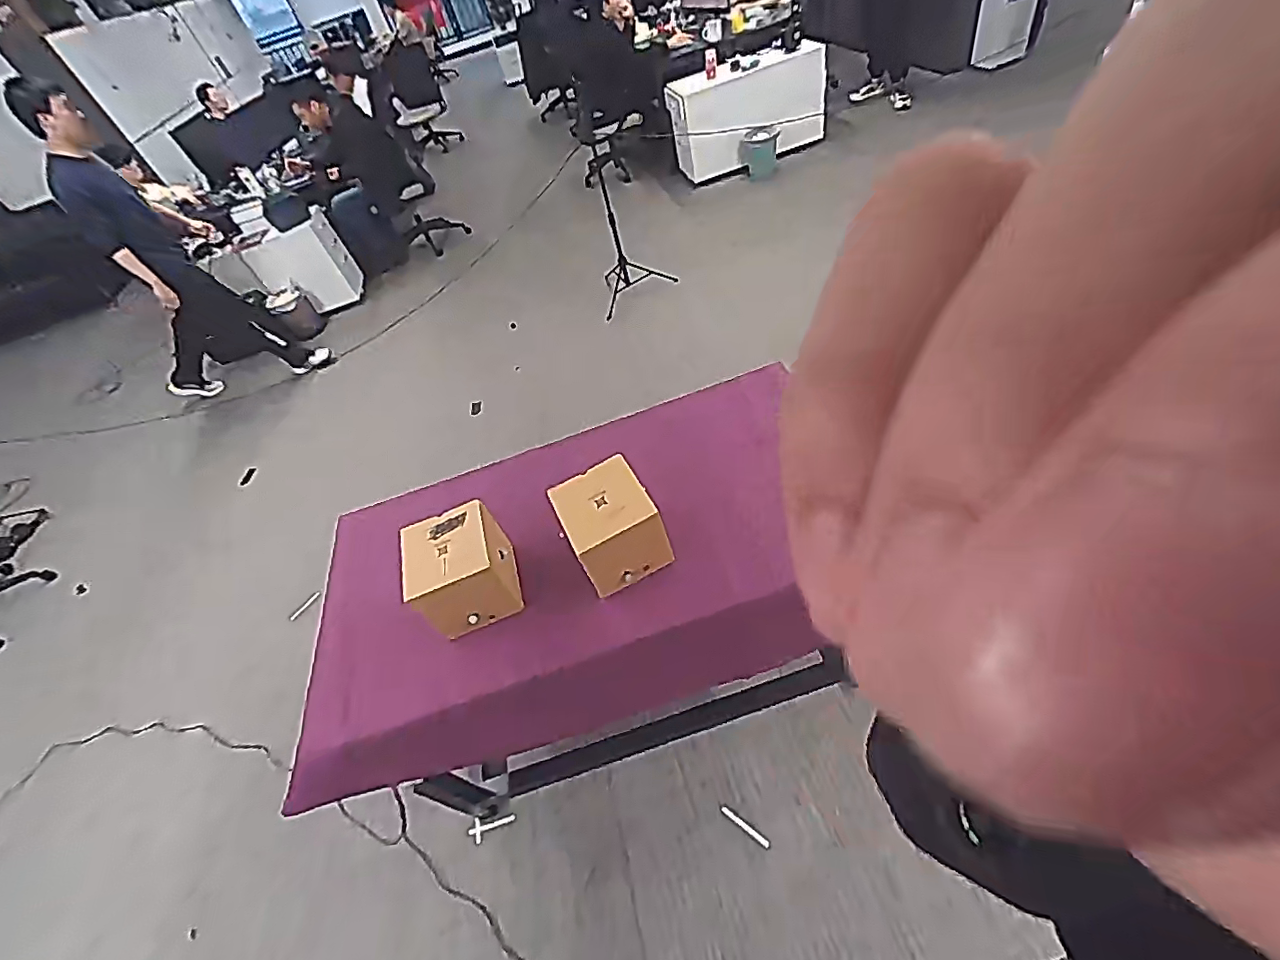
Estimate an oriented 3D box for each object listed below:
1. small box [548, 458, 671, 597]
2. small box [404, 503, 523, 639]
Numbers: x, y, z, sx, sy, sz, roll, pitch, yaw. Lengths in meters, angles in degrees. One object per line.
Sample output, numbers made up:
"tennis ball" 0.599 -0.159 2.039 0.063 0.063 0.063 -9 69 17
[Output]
"small box" -0.057 0.095 1.067 0.168 0.176 0.179 -28 47 -7
"small box" -0.350 0.184 1.078 0.168 0.176 0.179 -23 48 -3
